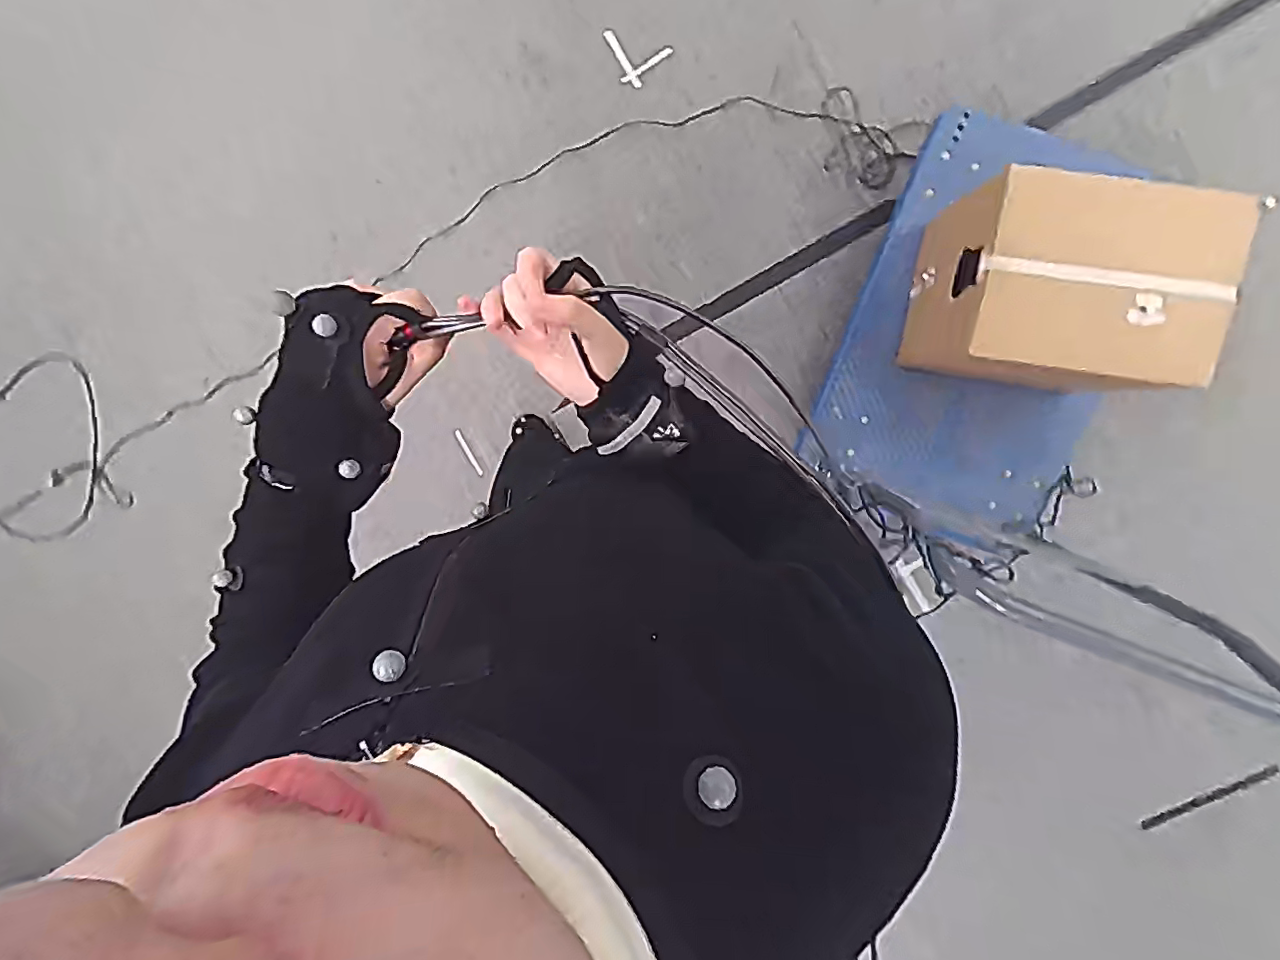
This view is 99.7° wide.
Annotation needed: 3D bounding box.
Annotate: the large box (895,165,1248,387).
[{"bbox_3d":[0.778,-0.363,1.051,0.408,0.320,0.320,9,99,2],"label":"large box"}]
